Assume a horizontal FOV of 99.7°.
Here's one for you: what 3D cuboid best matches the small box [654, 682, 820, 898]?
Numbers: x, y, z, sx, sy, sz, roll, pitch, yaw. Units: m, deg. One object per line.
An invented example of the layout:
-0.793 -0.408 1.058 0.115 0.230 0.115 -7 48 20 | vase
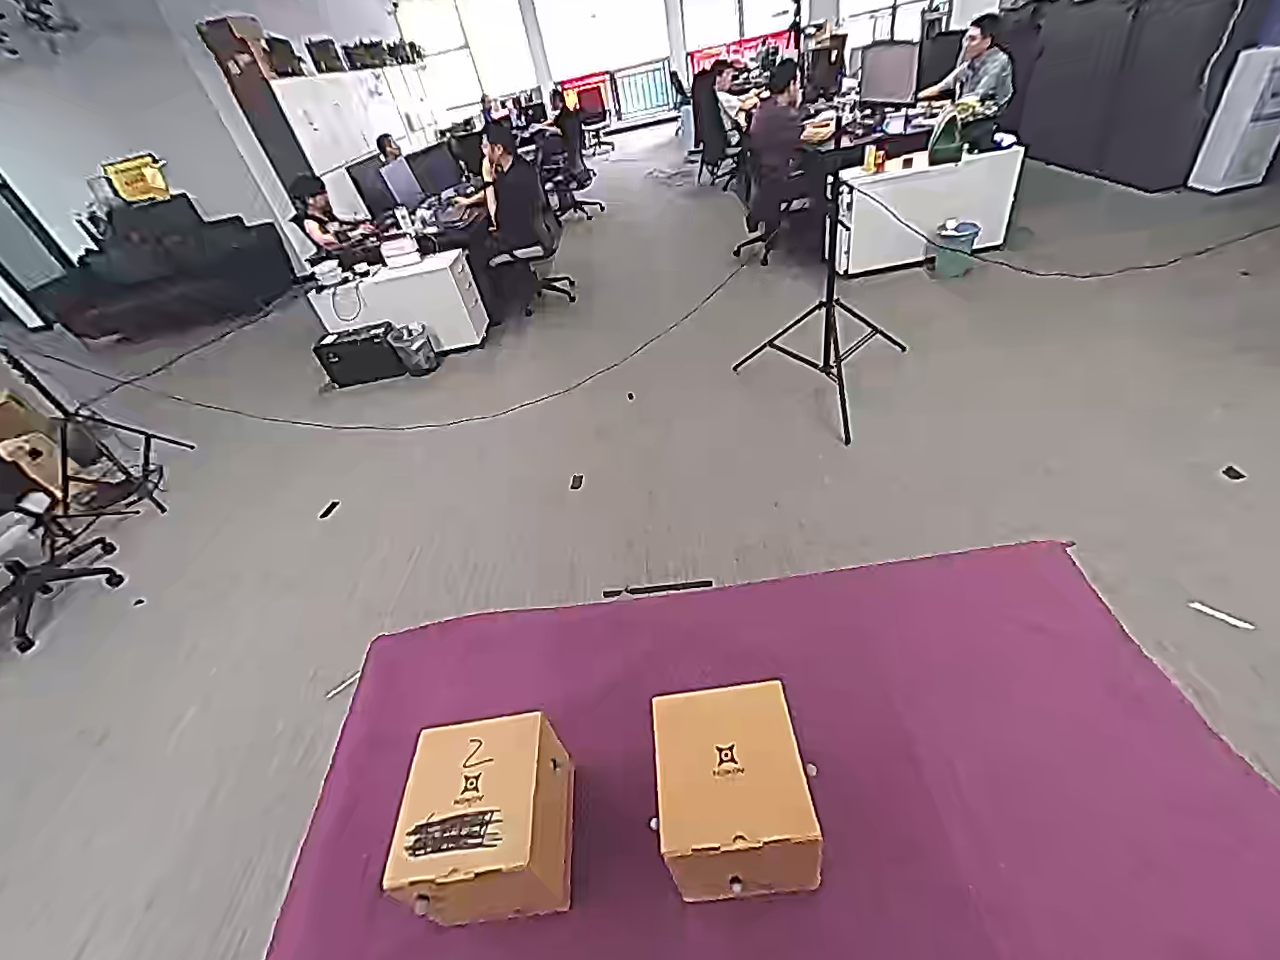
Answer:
0.113 0.380 0.667 0.168 0.176 0.179 -10 39 5 | small box
